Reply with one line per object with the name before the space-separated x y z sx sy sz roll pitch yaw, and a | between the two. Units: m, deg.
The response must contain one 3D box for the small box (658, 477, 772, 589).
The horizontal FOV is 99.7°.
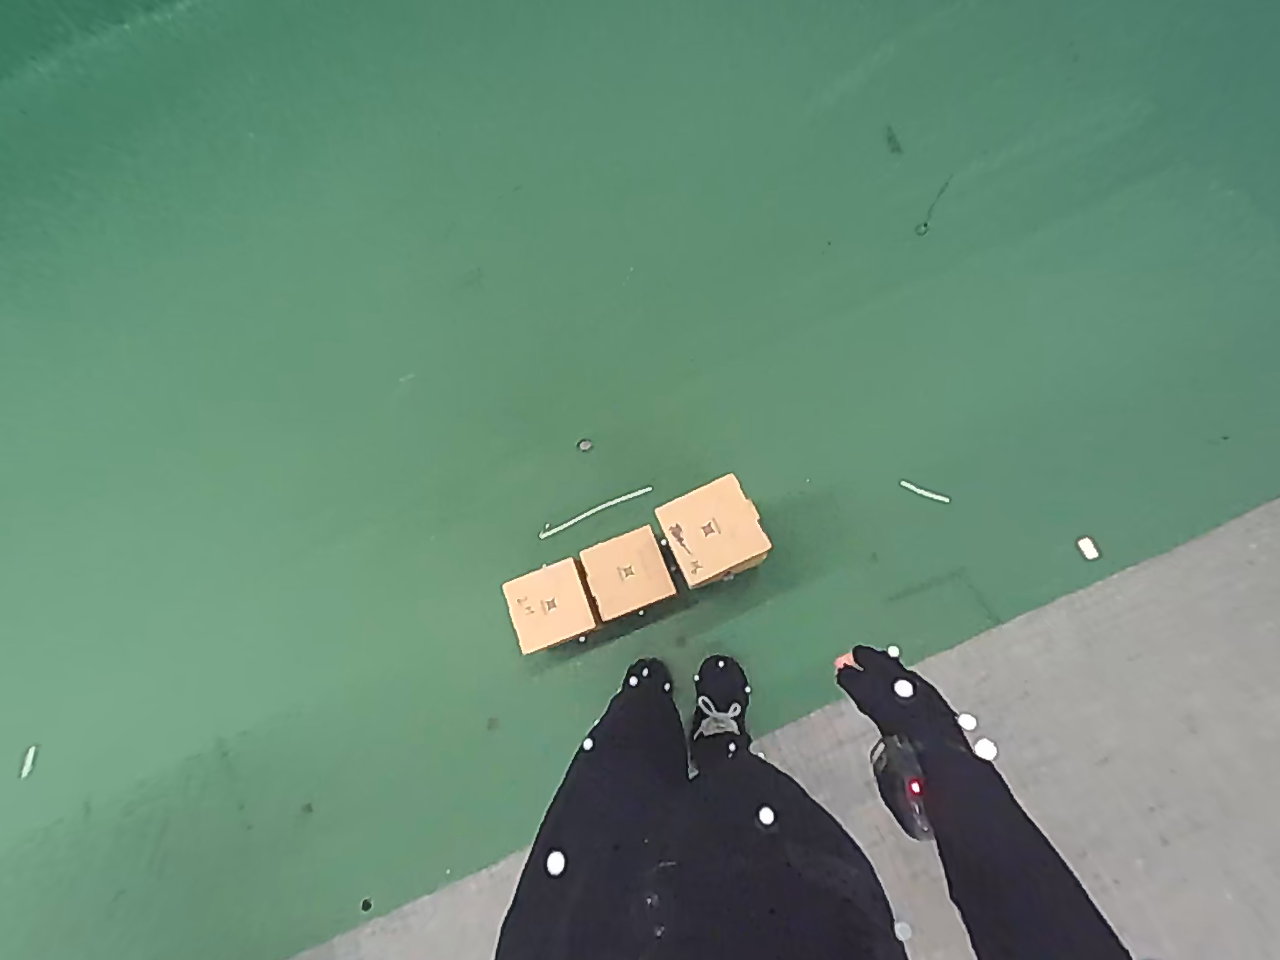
small box | 0.148 0.115 1.118 0.179 0.176 0.168 -24 75 -1
